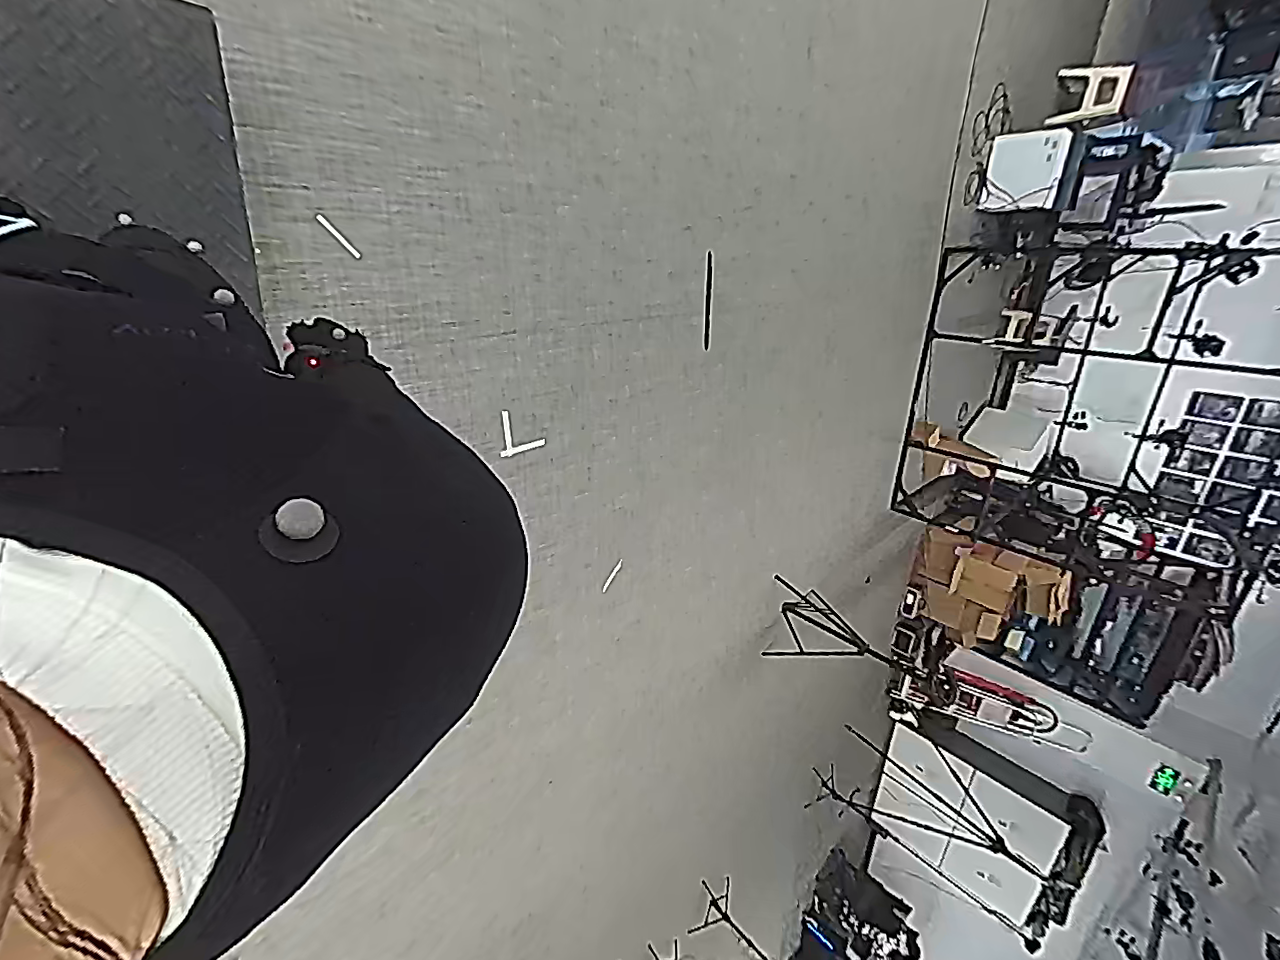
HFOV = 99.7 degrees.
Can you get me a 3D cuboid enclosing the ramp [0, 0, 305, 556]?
[{"bbox_3d":[-0.997,-0.328,1.040,0.509,0.206,0.991,-21,120,-39],"label":"ramp"}]
